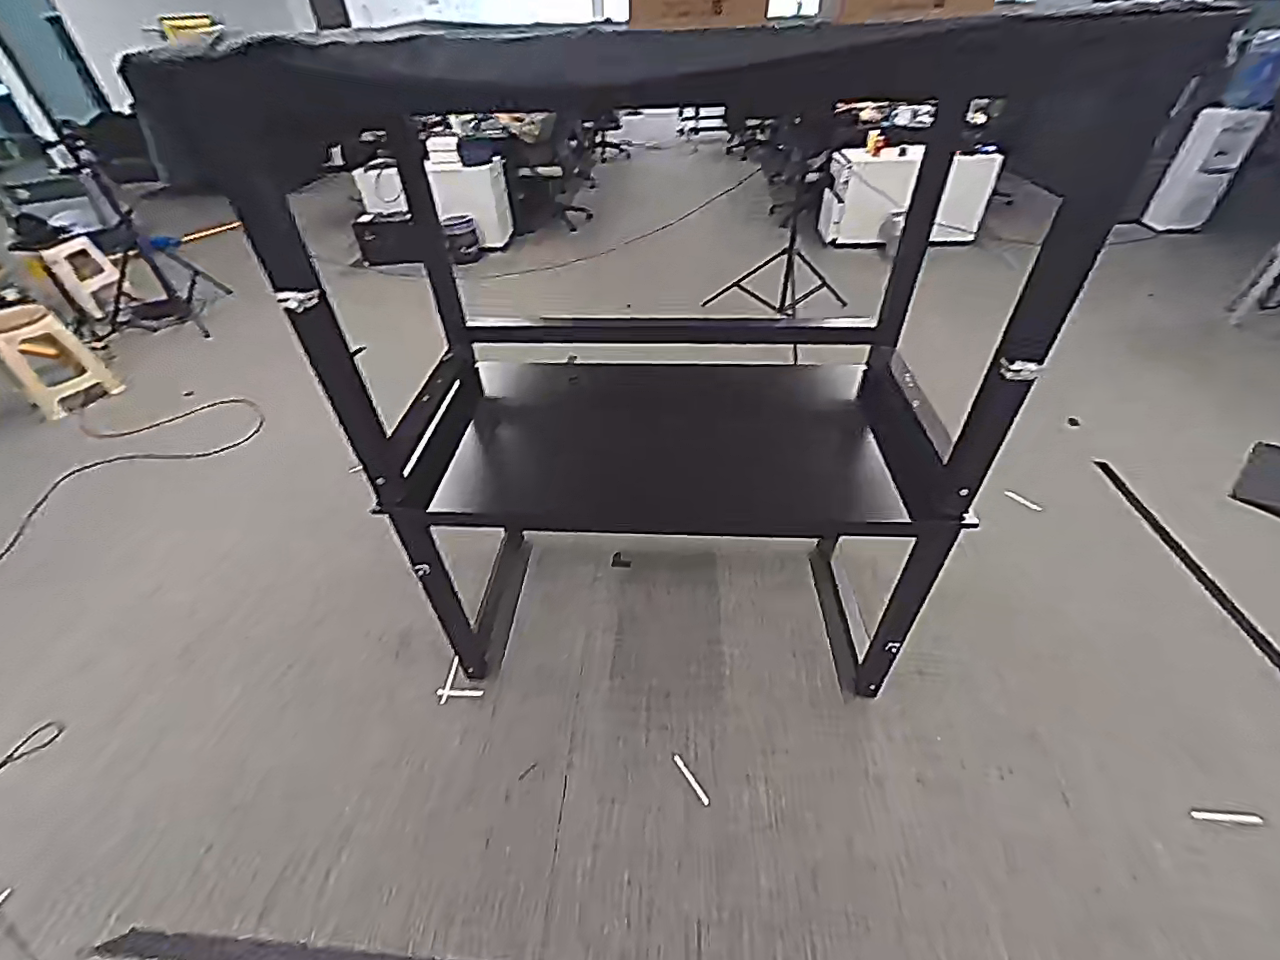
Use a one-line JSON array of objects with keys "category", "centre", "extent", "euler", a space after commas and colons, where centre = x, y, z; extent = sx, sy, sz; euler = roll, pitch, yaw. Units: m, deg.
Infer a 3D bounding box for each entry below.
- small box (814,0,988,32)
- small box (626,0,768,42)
[{"category": "small box", "centre": [0.306, -0.626, 0.621], "extent": [0.168, 0.176, 0.179], "euler": [1, 41, 5]}, {"category": "small box", "centre": [0.070, -0.633, 0.642], "extent": [0.168, 0.176, 0.179], "euler": [3, 41, 6]}]
